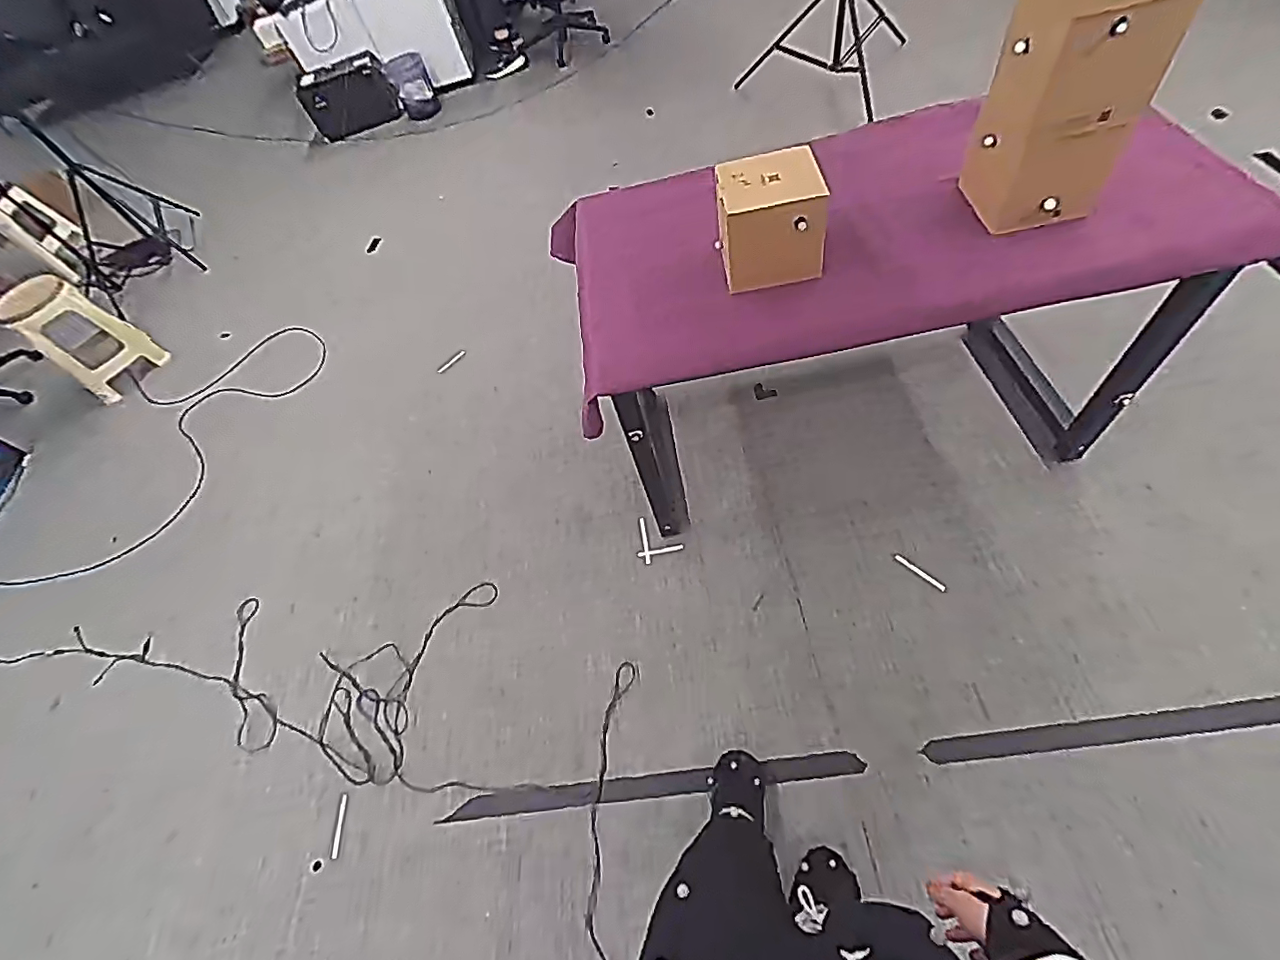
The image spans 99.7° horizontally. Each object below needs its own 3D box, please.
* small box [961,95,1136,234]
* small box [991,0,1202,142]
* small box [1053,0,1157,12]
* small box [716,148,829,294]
[{"bbox_3d":[0.708,-0.575,0.967,0.168,0.176,0.179,-9,57,8],"label":"small box"},{"bbox_3d":[0.675,-0.656,0.828,0.168,0.176,0.179,-8,56,10],"label":"small box"},{"bbox_3d":[0.644,-0.735,0.688,0.168,0.176,0.179,-8,57,9],"label":"small box"},{"bbox_3d":[0.243,-0.481,1.018,0.179,0.176,0.168,-9,56,8],"label":"small box"}]
